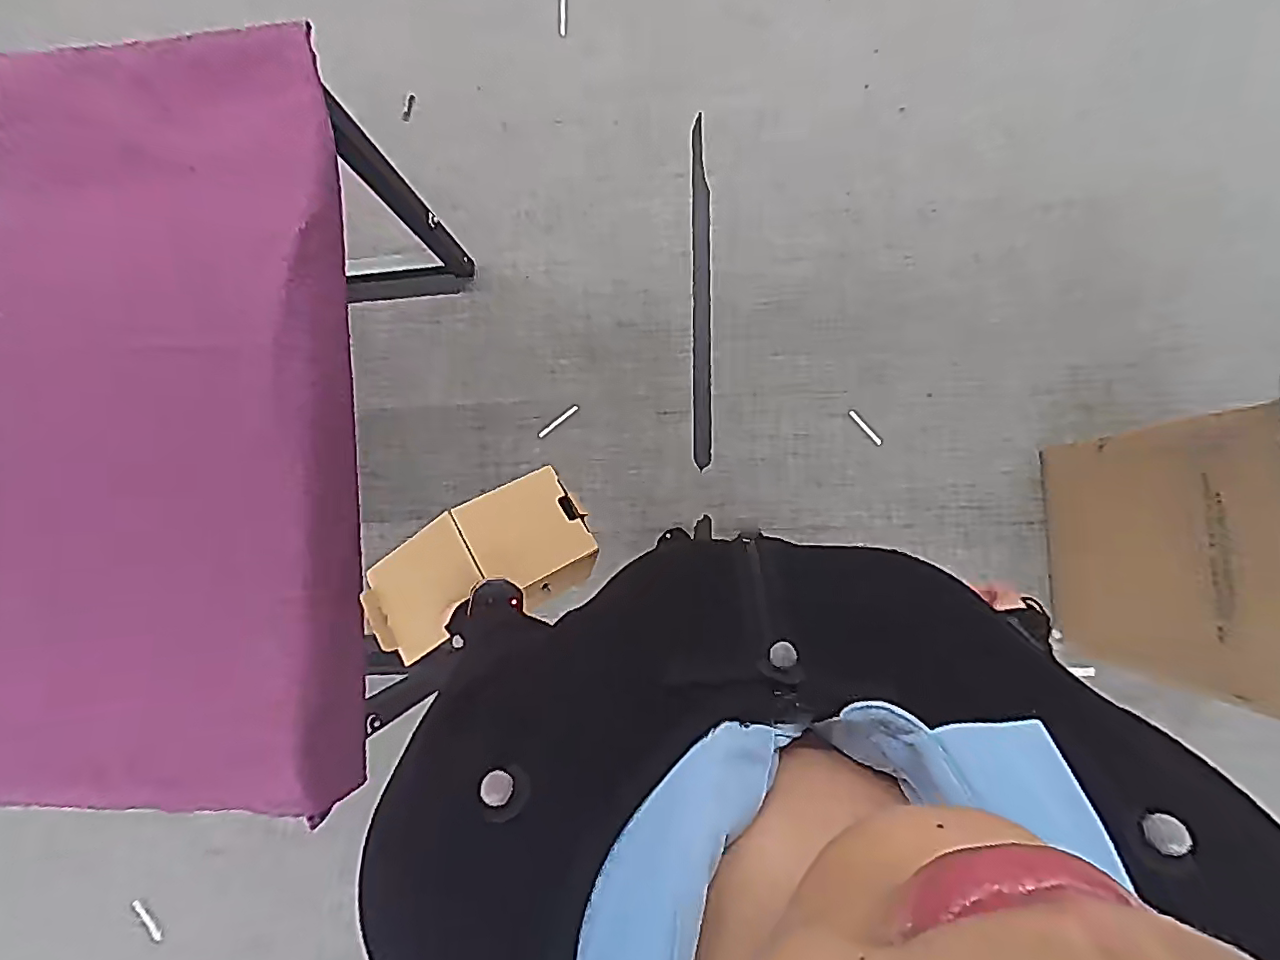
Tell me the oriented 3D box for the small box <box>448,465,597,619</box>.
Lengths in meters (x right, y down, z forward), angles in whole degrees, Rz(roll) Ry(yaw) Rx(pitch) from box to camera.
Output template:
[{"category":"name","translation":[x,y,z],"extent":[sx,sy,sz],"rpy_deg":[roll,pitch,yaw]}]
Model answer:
[{"category":"small box","translation":[-0.188,0.109,0.887],"extent":[0.179,0.176,0.168],"rpy_deg":[-26,74,-21]}]
